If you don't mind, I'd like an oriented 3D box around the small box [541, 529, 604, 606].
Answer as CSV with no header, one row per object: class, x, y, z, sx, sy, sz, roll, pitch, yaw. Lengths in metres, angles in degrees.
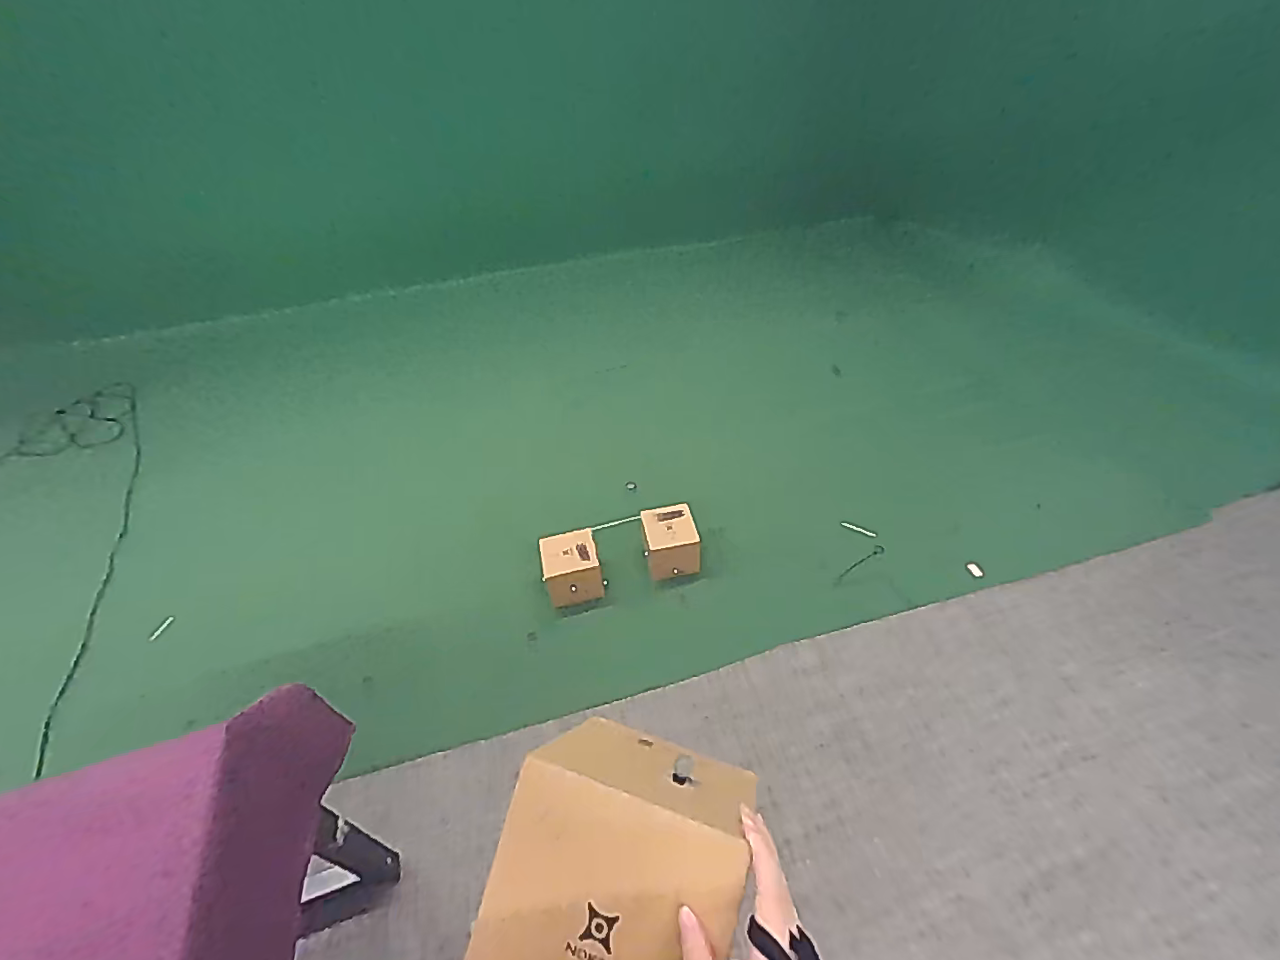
small box,-0.220,0.290,1.780,0.179,0.176,0.168,-13,44,-6
